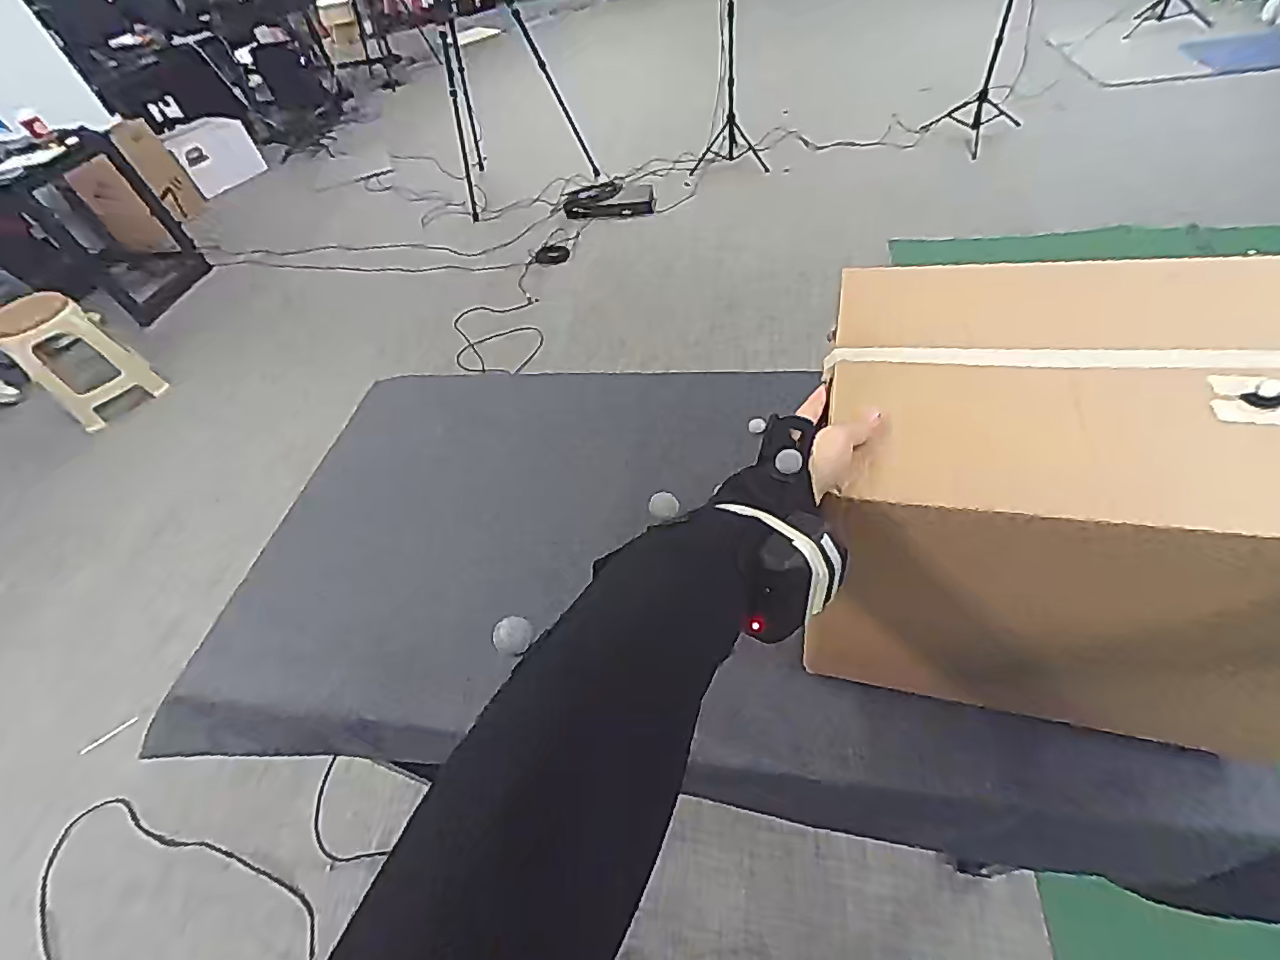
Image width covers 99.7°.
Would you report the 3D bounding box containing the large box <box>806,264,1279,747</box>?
[{"bbox_3d":[0.384,0.012,0.521,0.408,0.320,0.320,6,51,17],"label":"large box"}]
